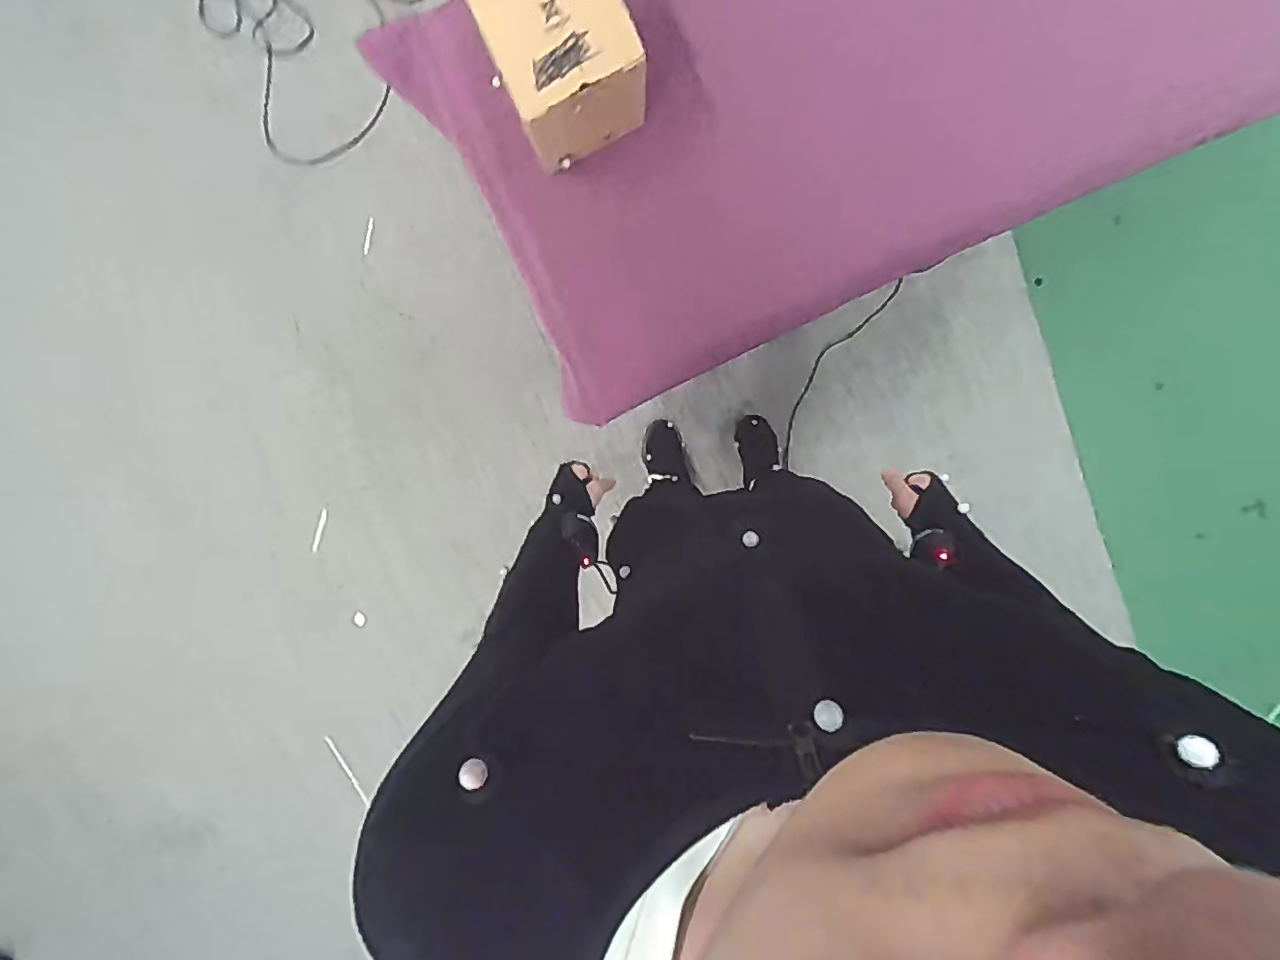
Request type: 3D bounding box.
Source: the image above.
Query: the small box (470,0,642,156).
[{"bbox_3d":[-0.104,-0.568,0.718,0.168,0.176,0.179,-25,98,3],"label":"small box"}]
